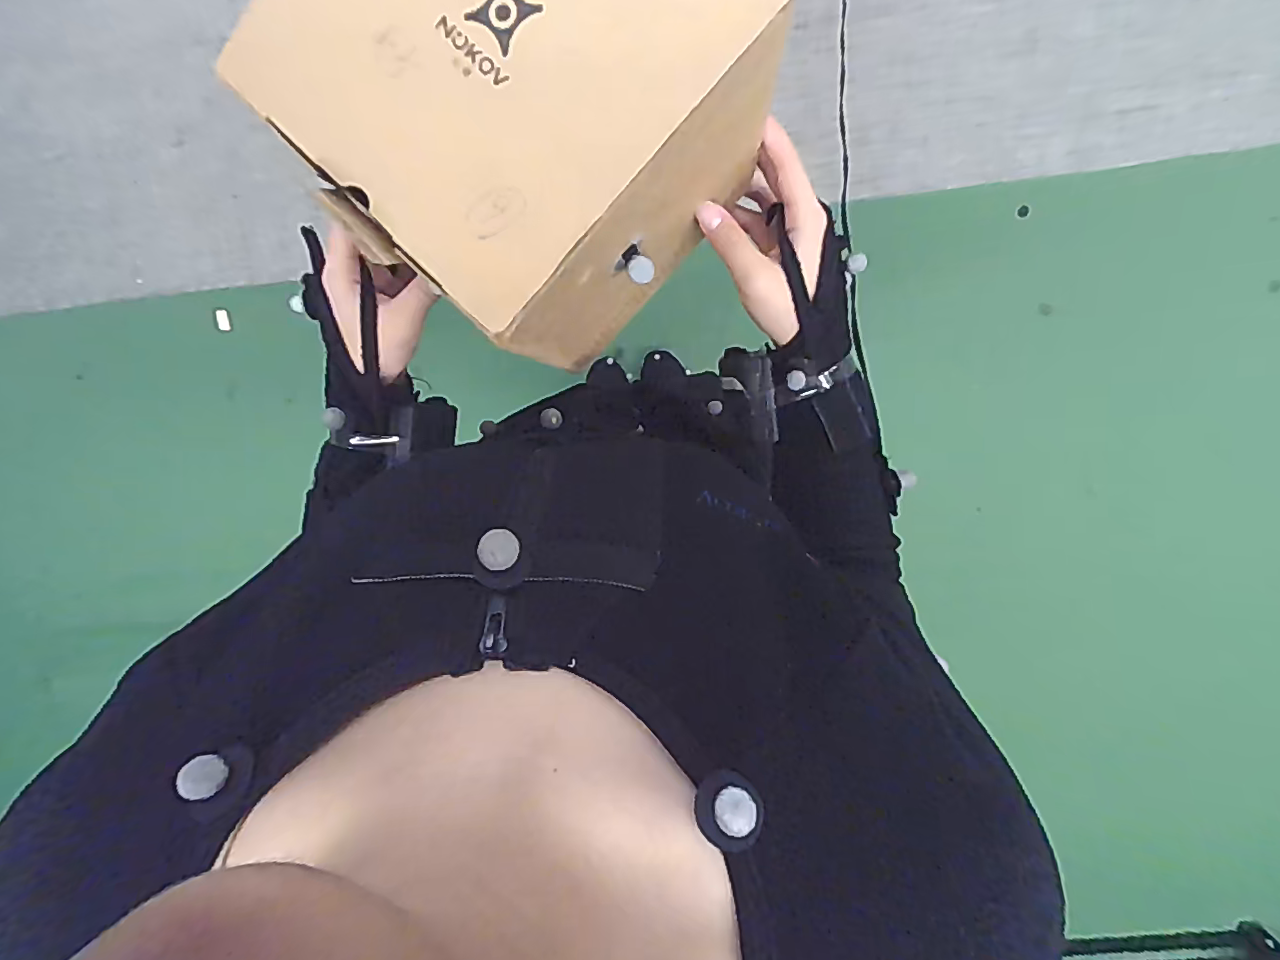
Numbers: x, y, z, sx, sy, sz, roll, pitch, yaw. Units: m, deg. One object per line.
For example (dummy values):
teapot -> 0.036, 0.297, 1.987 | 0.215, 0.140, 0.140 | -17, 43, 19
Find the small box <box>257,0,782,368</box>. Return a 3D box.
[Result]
small box -> -0.047, -0.182, 0.306 | 0.168, 0.176, 0.179 | 43, 99, 0
